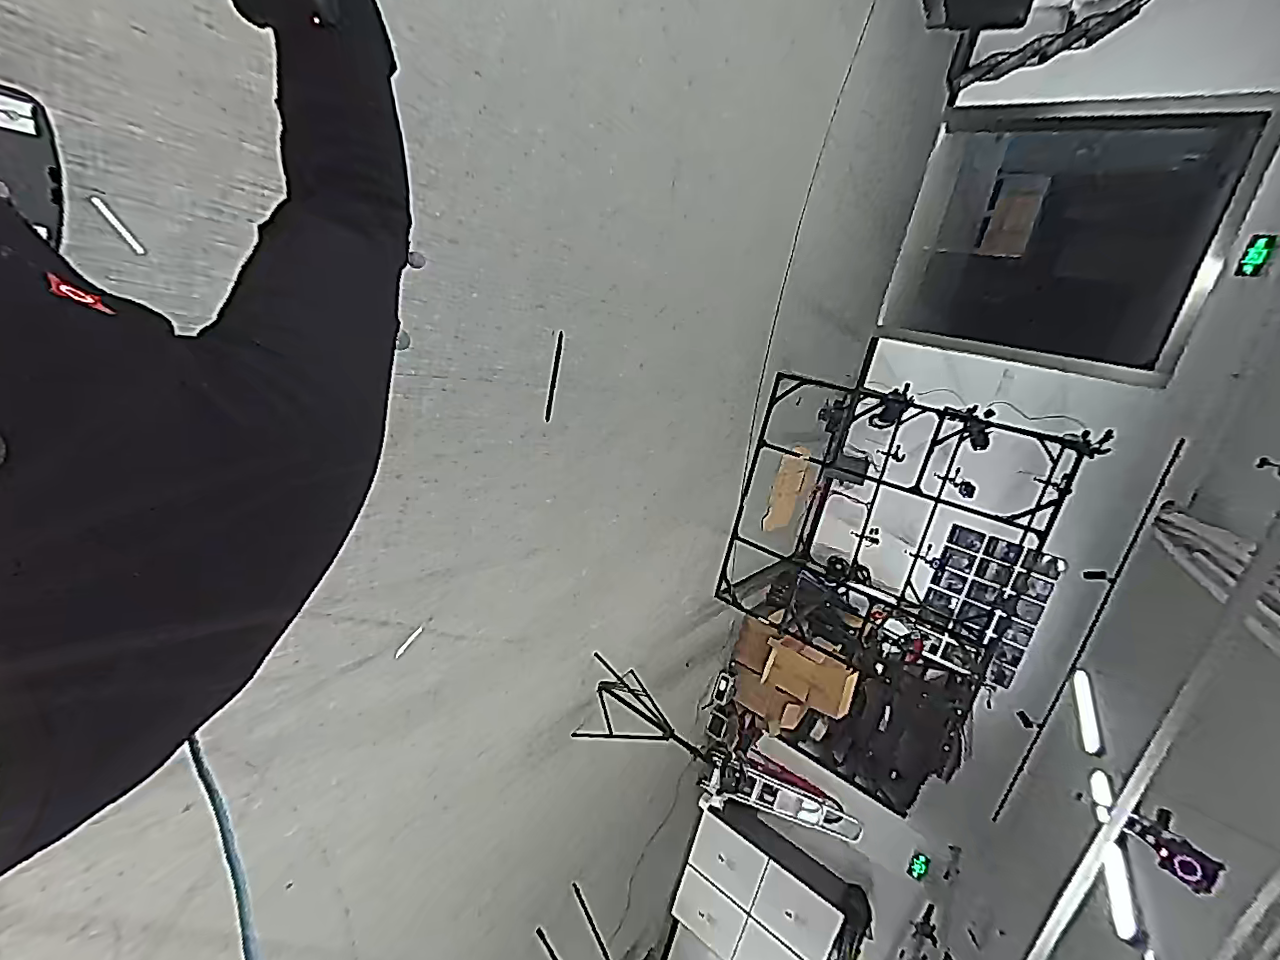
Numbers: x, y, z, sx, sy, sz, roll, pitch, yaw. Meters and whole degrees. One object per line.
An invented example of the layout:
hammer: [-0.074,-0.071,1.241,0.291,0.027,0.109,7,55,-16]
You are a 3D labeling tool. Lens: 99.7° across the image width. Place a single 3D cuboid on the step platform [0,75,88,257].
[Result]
step platform: [-1.279,-0.535,0.774,0.684,0.204,0.286,-13,120,-54]
